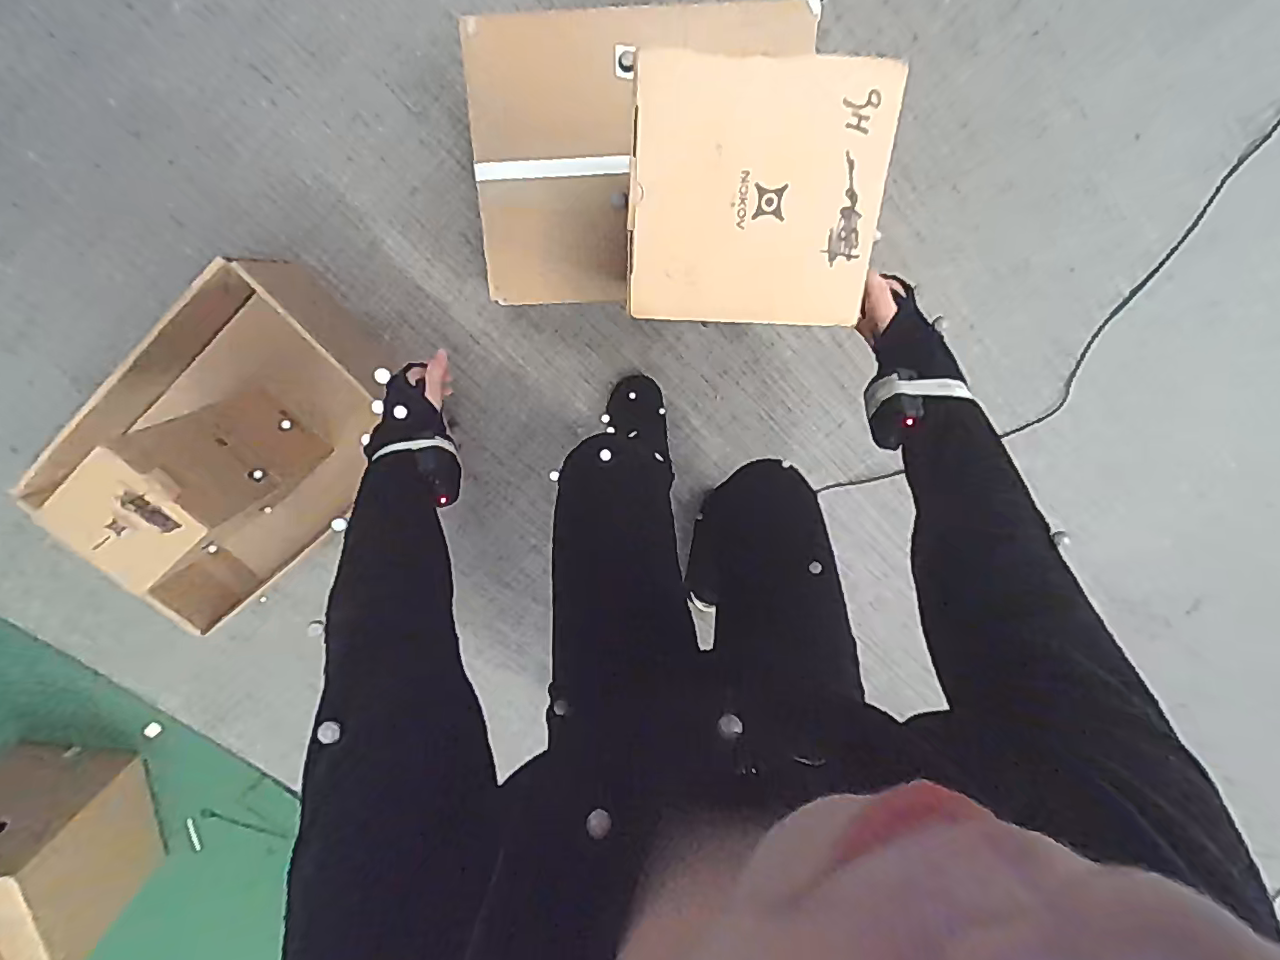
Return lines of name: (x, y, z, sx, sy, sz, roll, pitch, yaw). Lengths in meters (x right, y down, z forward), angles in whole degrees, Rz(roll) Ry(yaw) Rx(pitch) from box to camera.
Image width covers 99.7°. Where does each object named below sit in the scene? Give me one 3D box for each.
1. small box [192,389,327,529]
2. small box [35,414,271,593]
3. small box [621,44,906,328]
small box: (-0.707, -0.036, 0.963, 0.179, 0.176, 0.168, -38, 108, 12)
small box: (-0.705, 0.026, 0.810, 0.179, 0.176, 0.168, -36, 107, 14)
small box: (0.078, -0.225, 0.443, 0.179, 0.176, 0.168, 3, 114, -1)
